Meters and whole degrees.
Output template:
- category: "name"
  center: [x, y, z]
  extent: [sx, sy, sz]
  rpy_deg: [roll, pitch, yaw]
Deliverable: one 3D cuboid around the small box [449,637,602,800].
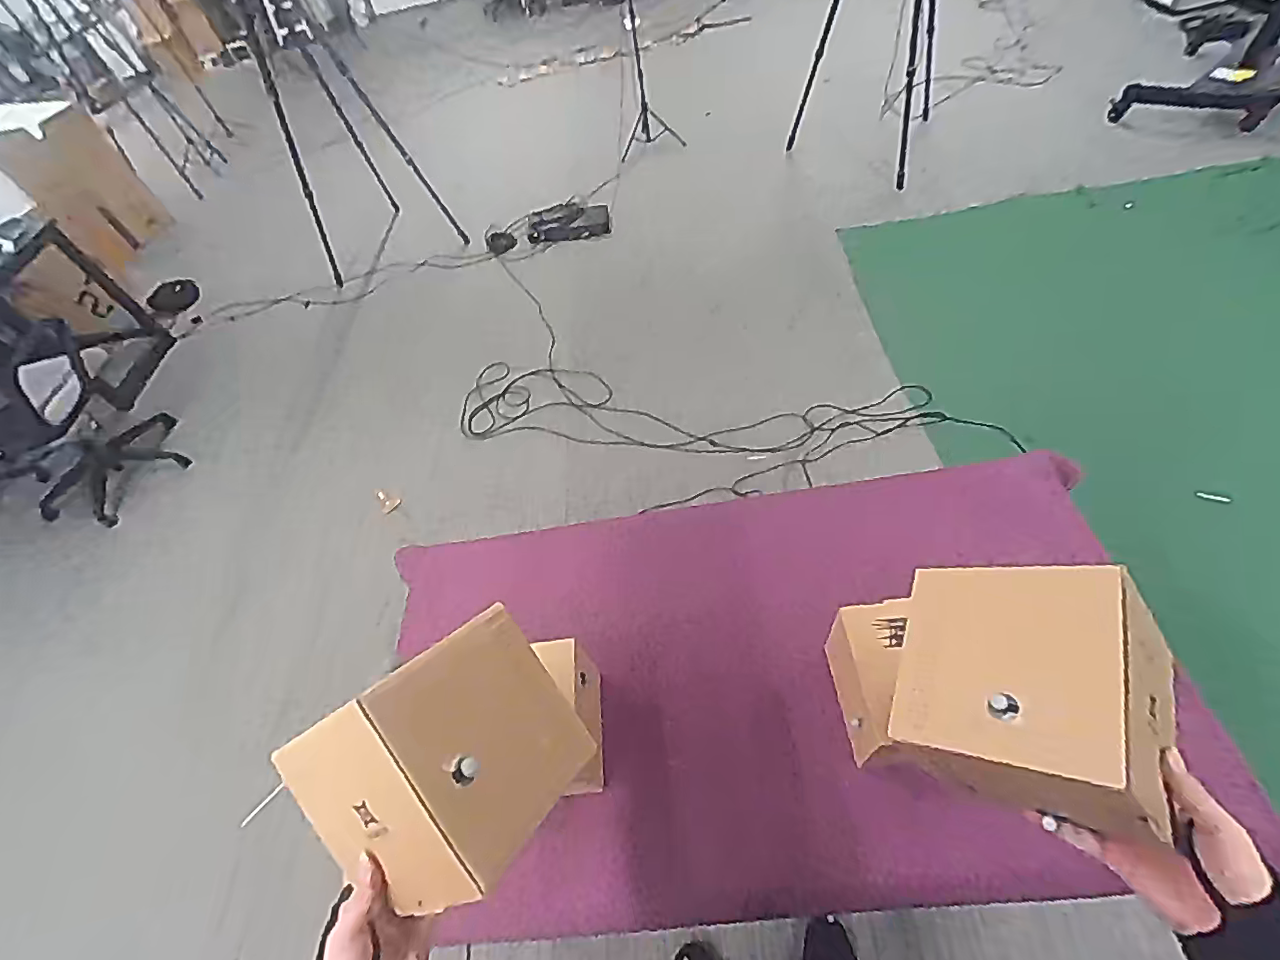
- category: "small box"
  center: [-0.155, 0.352, 0.791]
  extent: [0.168, 0.176, 0.179]
  rpy_deg: [-10, 53, 6]
